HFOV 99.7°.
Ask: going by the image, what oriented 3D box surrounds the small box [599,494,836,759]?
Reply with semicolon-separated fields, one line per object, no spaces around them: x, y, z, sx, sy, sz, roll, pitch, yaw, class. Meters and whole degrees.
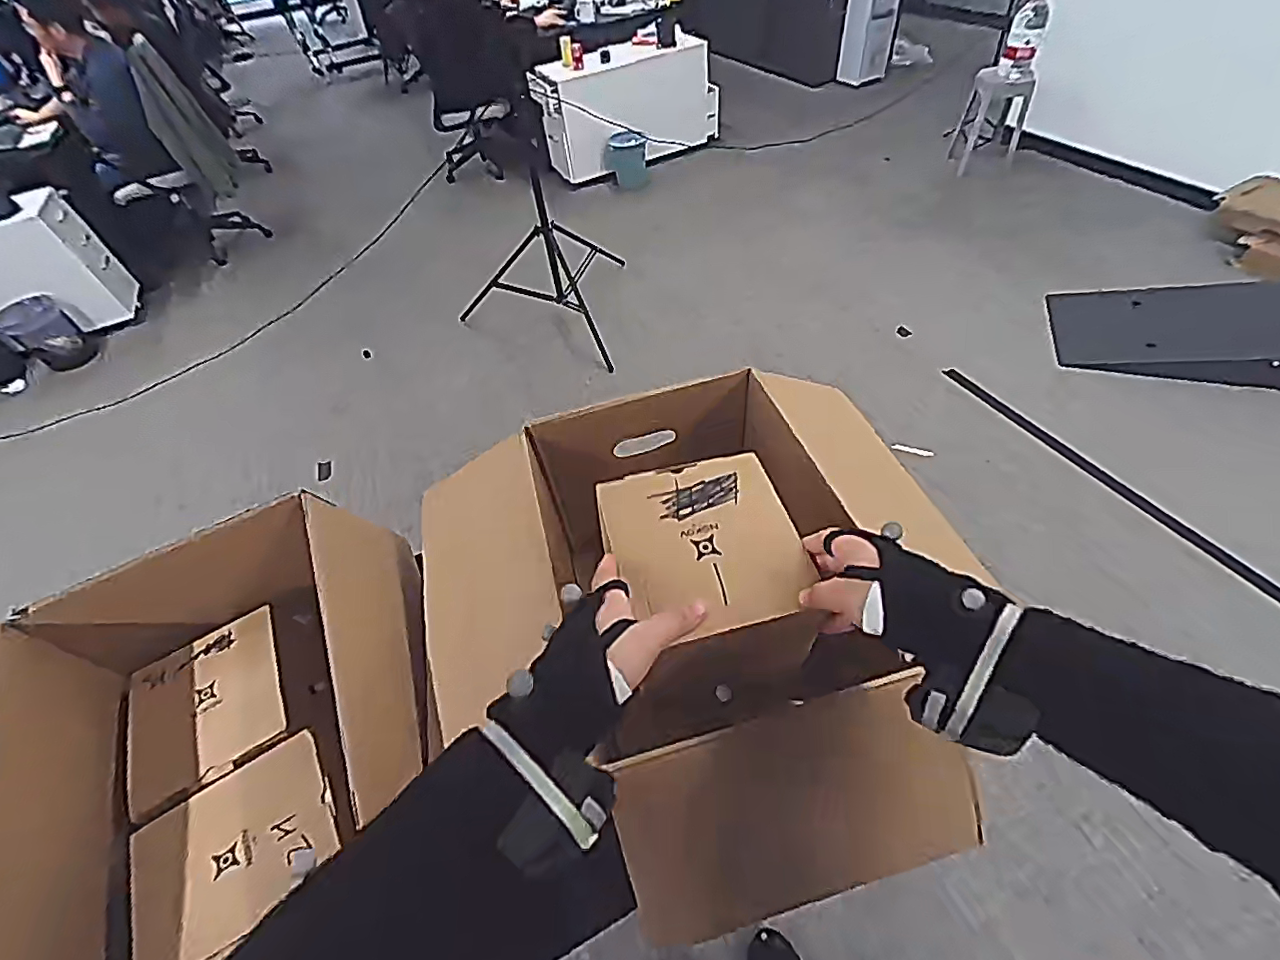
0.061;0.145;0.533;0.168;0.176;0.179;-13;50;-7;small box
